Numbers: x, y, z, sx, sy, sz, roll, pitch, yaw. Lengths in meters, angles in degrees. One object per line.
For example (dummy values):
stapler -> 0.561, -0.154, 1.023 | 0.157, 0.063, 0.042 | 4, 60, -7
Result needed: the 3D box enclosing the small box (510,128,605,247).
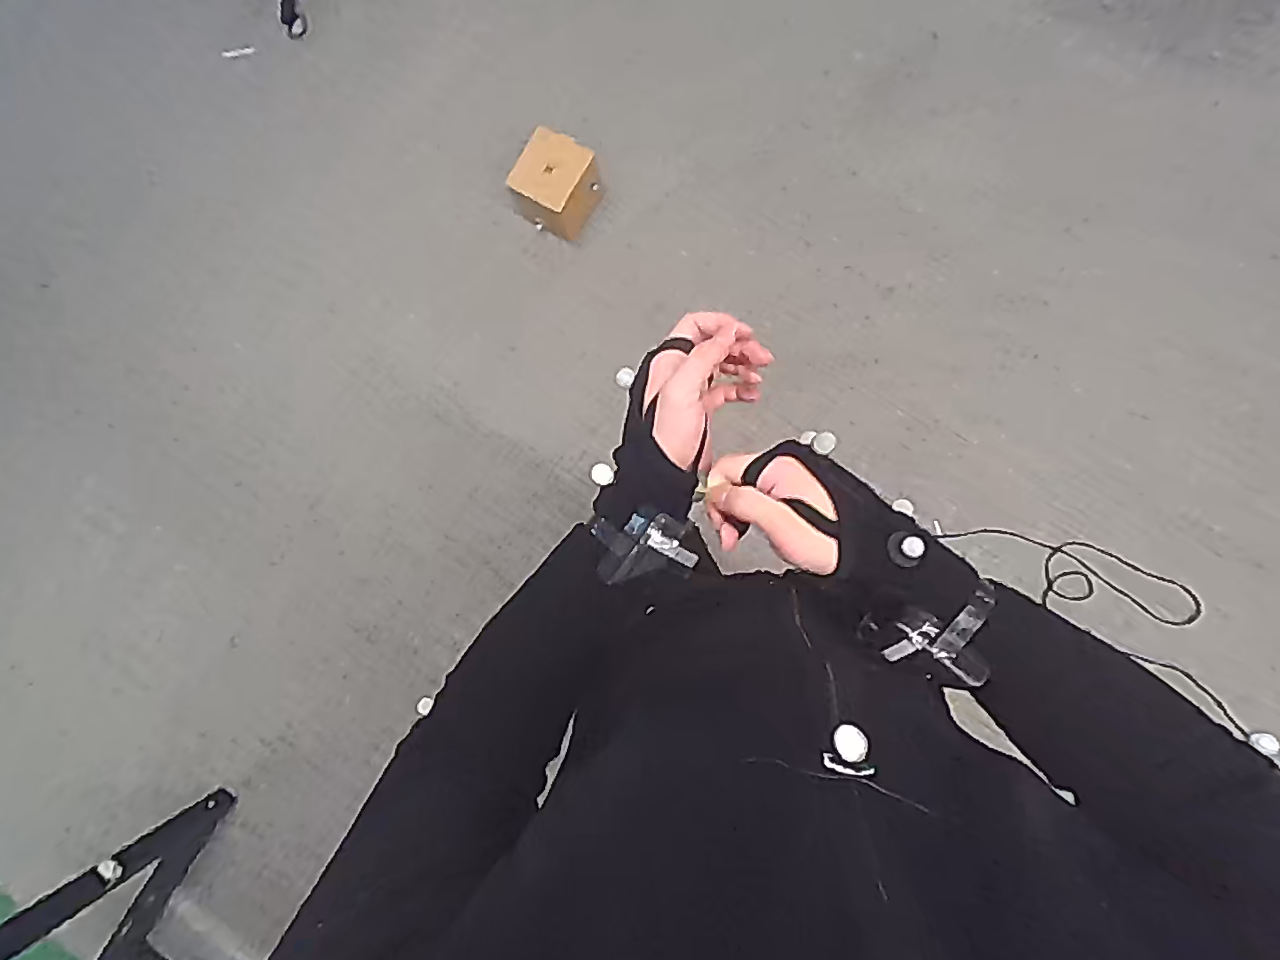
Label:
small box -> -0.205, -0.750, 1.402 | 0.168, 0.176, 0.179 | 30, 90, 6
